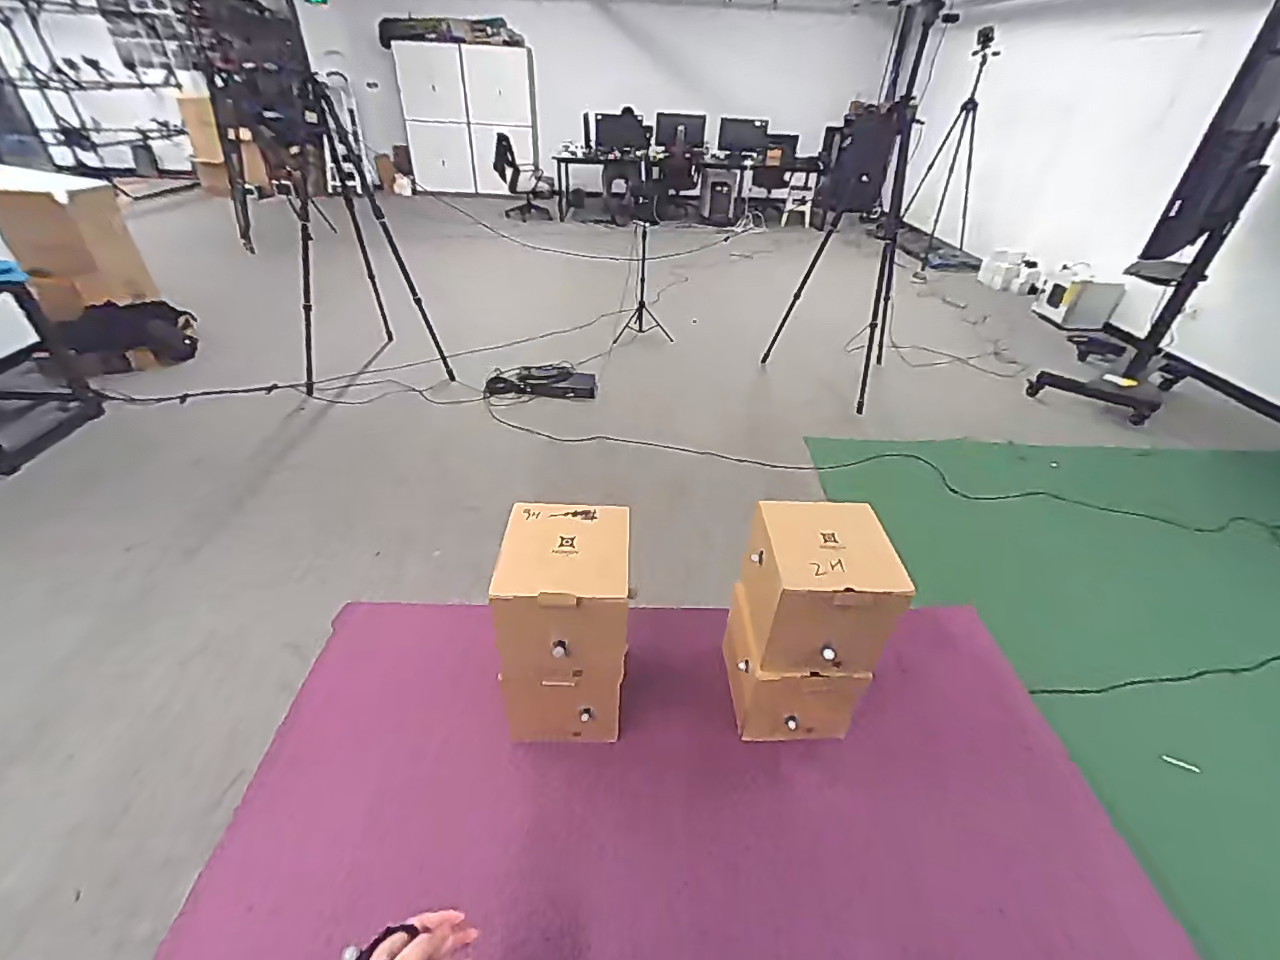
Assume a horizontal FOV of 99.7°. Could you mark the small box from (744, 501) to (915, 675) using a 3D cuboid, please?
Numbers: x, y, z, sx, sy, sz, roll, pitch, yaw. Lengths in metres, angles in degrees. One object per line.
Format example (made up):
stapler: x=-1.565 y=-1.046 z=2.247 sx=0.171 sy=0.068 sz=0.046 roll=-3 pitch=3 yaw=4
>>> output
small box: x=0.250 y=0.150 z=0.767 sx=0.168 sy=0.176 sz=0.179 roll=1 pitch=37 yaw=-1

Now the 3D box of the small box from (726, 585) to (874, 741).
small box: x=0.239 y=0.287 z=0.859 sx=0.168 sy=0.176 sz=0.179 roll=0 pitch=37 yaw=-3

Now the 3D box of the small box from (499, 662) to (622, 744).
small box: x=-0.111 y=0.288 z=0.841 sx=0.168 sy=0.176 sz=0.179 roll=2 pitch=36 yaw=-2

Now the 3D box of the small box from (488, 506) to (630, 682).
small box: x=-0.099 y=0.156 z=0.743 sx=0.168 sy=0.176 sz=0.179 roll=2 pitch=37 yaw=-2
